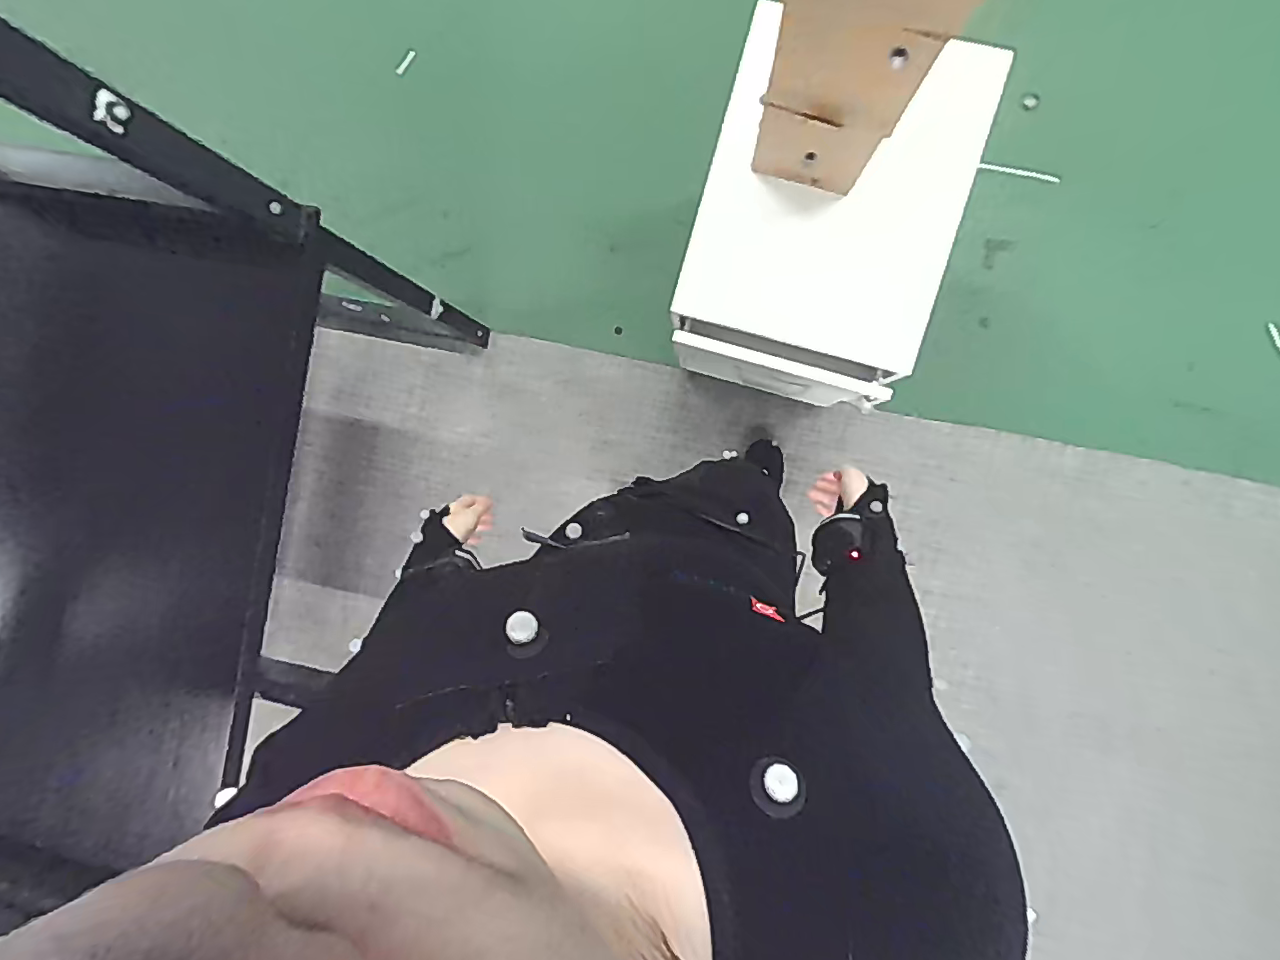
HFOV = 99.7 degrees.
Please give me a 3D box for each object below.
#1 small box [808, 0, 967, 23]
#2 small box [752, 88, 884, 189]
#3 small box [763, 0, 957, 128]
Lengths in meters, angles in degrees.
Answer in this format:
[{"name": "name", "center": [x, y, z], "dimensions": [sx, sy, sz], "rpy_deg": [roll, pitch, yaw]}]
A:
[{"name": "small box", "center": [0.229, -0.523, 0.438], "dimensions": [0.179, 0.176, 0.168], "rpy_deg": [12, 94, 4]}, {"name": "small box", "center": [0.263, -0.547, 0.763], "dimensions": [0.168, 0.176, 0.179], "rpy_deg": [17, 95, 4]}, {"name": "small box", "center": [0.251, -0.535, 0.601], "dimensions": [0.179, 0.176, 0.168], "rpy_deg": [19, 94, 3]}]
